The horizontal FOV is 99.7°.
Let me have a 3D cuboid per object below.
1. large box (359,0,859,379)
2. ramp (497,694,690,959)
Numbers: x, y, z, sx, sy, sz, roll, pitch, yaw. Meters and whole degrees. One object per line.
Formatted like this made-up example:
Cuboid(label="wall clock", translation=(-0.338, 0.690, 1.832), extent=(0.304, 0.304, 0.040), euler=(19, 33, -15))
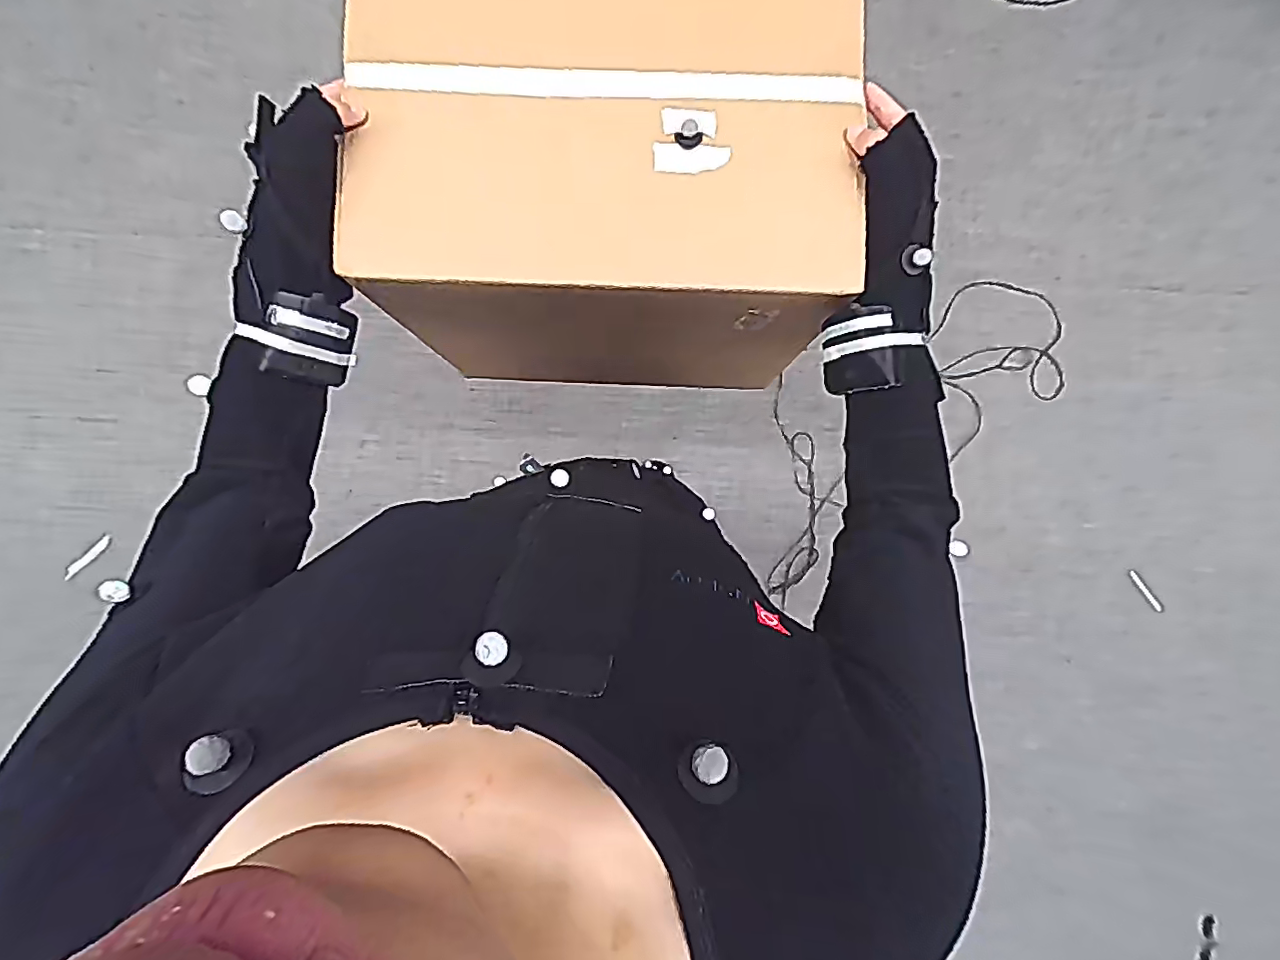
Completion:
Cuboid(label="large box", translation=(-0.024, -0.301, 0.587), extent=(0.408, 0.320, 0.320), euler=(2, 86, -1))
Cuboid(label="ramp", translation=(-0.123, 1.092, 1.421), extent=(0.509, 0.206, 0.991), euler=(1, 91, 0))
